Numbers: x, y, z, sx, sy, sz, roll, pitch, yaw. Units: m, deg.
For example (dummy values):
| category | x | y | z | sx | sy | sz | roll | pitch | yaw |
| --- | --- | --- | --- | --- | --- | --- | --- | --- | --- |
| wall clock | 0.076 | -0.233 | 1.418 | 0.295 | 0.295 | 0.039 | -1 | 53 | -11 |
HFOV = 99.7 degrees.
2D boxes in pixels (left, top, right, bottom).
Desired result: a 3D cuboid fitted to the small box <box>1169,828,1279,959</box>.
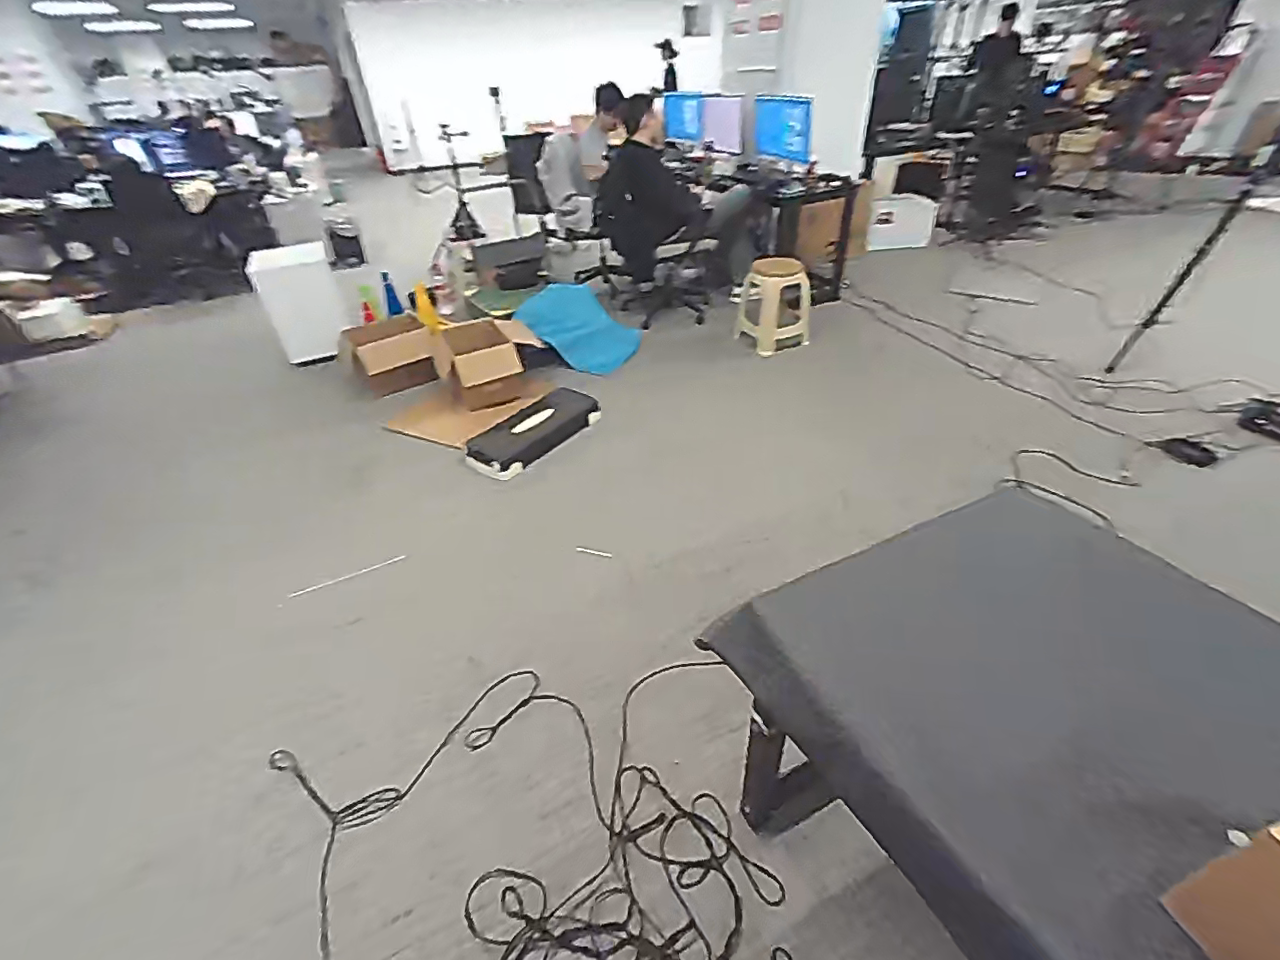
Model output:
| category | x | y | z | sx | sy | sz | roll | pitch | yaw |
| --- | --- | --- | --- | --- | --- | --- | --- | --- | --- |
| small box | 0.598 | 0.375 | 0.421 | 0.168 | 0.176 | 0.179 | -12 | 37 | -12 |
